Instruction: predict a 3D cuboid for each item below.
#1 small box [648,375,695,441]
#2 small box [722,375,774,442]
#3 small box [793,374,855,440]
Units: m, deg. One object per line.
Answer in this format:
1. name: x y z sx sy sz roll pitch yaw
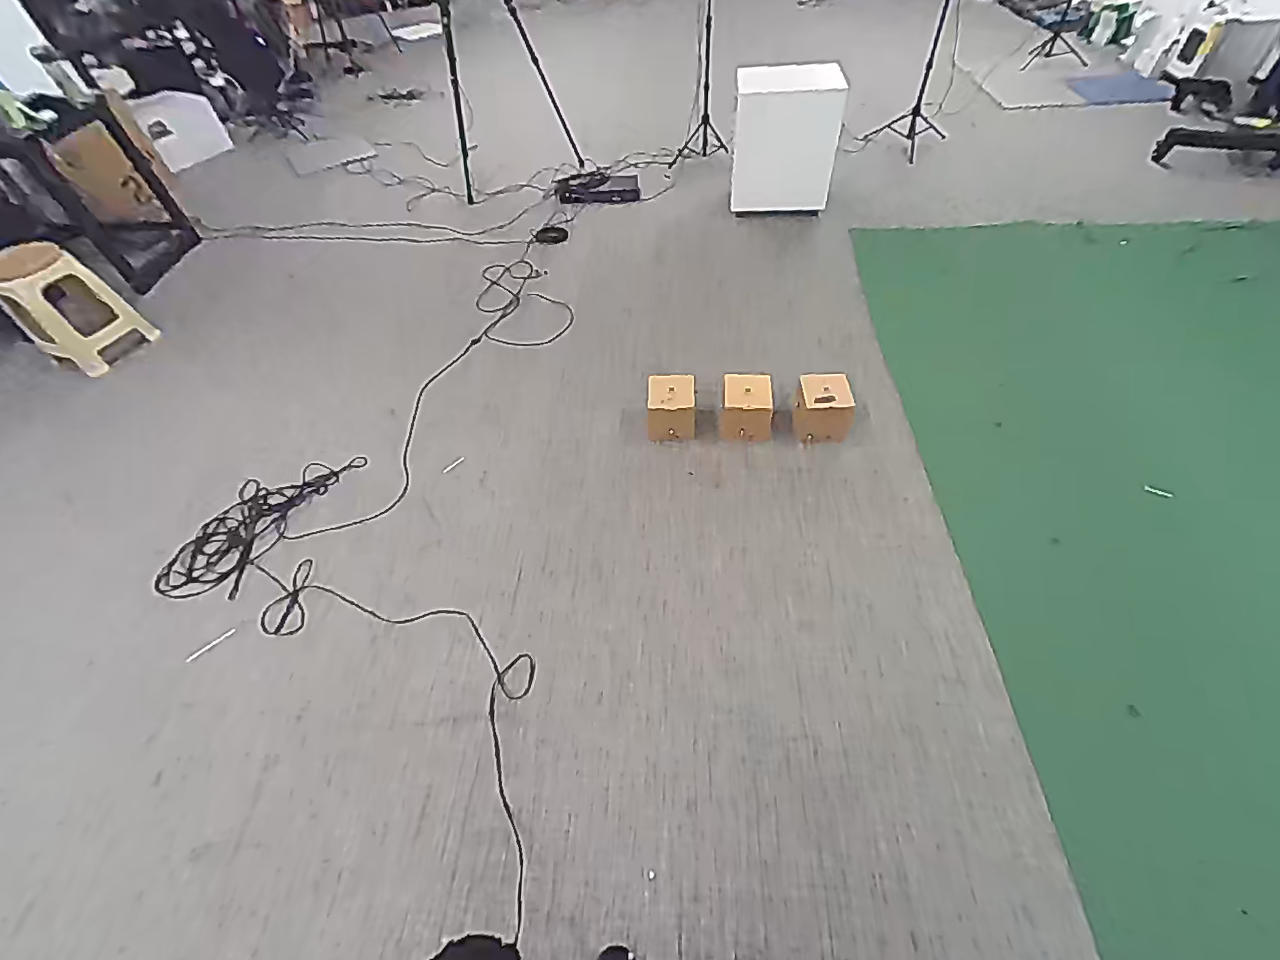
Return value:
1. small box: 0.119 -0.264 1.984 0.168 0.176 0.179 -1 52 5
2. small box: 0.387 -0.261 1.965 0.168 0.176 0.179 2 52 5
3. small box: 0.655 -0.258 1.943 0.168 0.176 0.179 -1 51 3
